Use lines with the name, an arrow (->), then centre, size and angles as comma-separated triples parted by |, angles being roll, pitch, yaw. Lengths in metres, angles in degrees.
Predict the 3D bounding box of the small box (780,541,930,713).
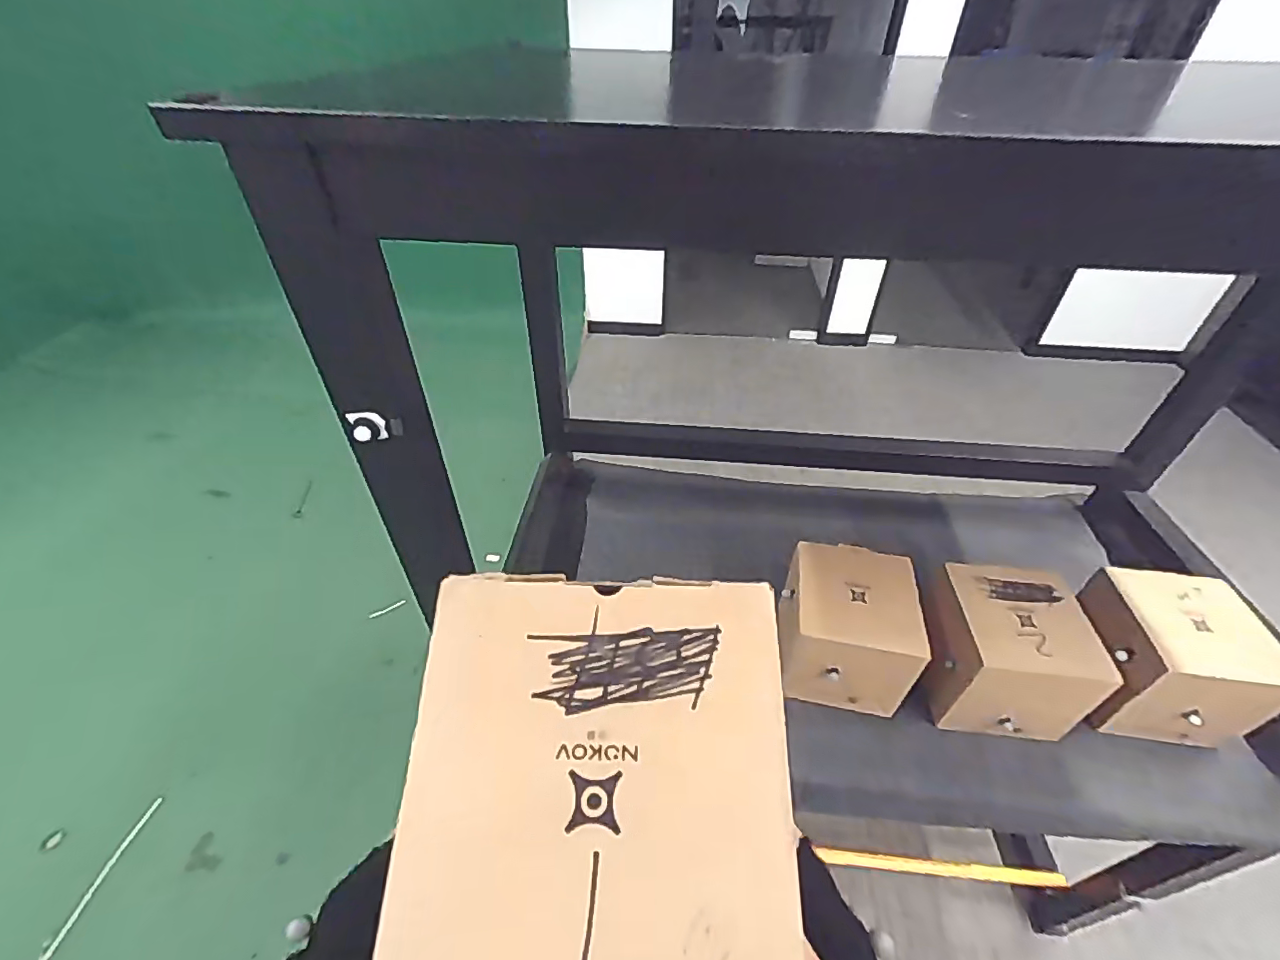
small box -> 0.309, 0.221, 0.813 | 0.168, 0.176, 0.179 | 8, 41, 9

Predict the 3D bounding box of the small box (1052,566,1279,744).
small box -> 0.748, 0.251, 0.777 | 0.168, 0.176, 0.179 | 6, 41, 6
